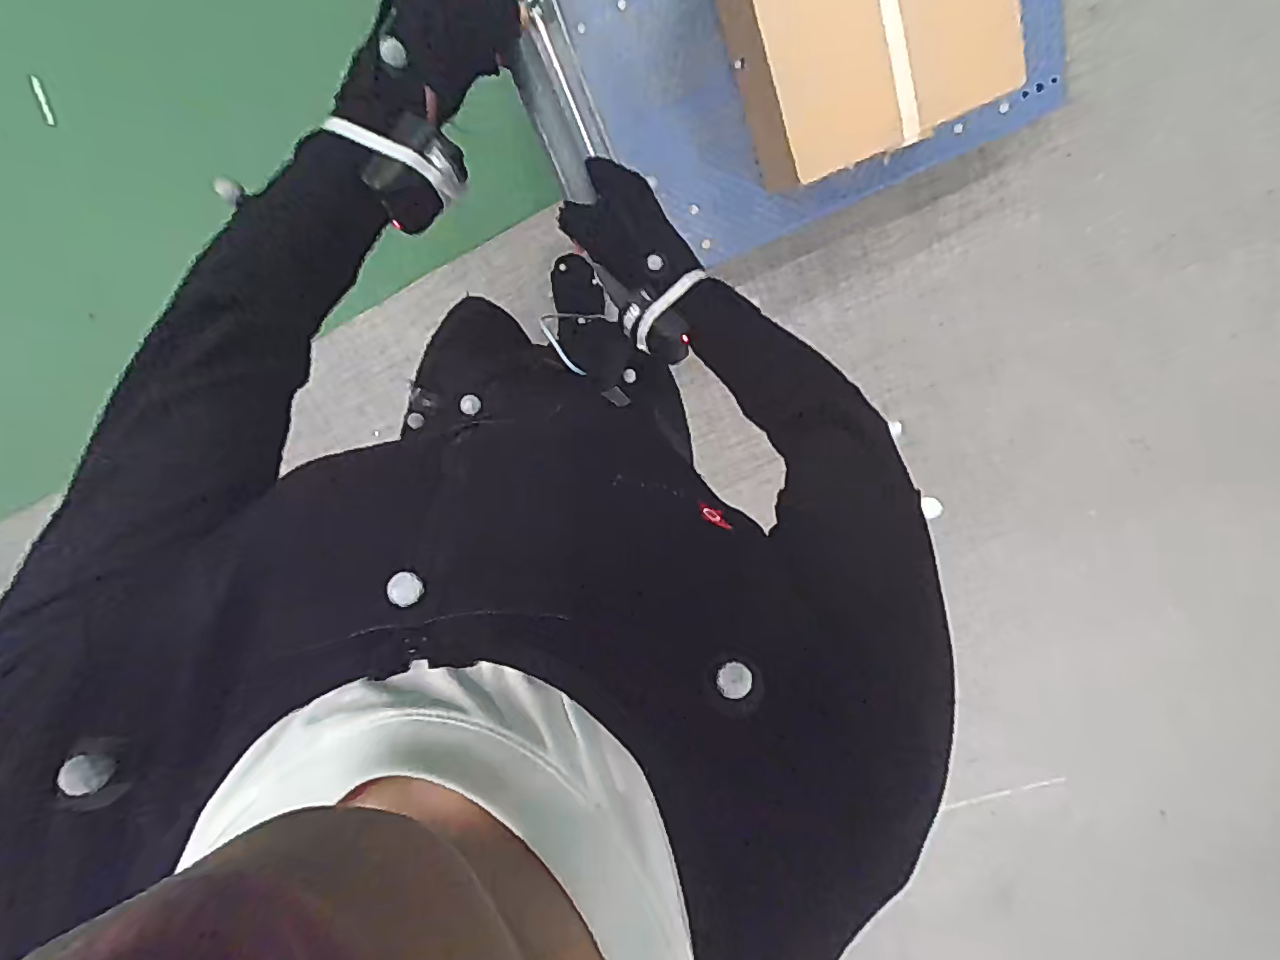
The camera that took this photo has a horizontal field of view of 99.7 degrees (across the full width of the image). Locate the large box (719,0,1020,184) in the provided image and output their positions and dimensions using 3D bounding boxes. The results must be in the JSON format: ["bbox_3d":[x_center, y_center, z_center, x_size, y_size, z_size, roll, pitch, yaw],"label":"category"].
[{"bbox_3d":[0.307,-0.730,0.821,0.320,0.320,0.408,-19,113,12],"label":"large box"}]
